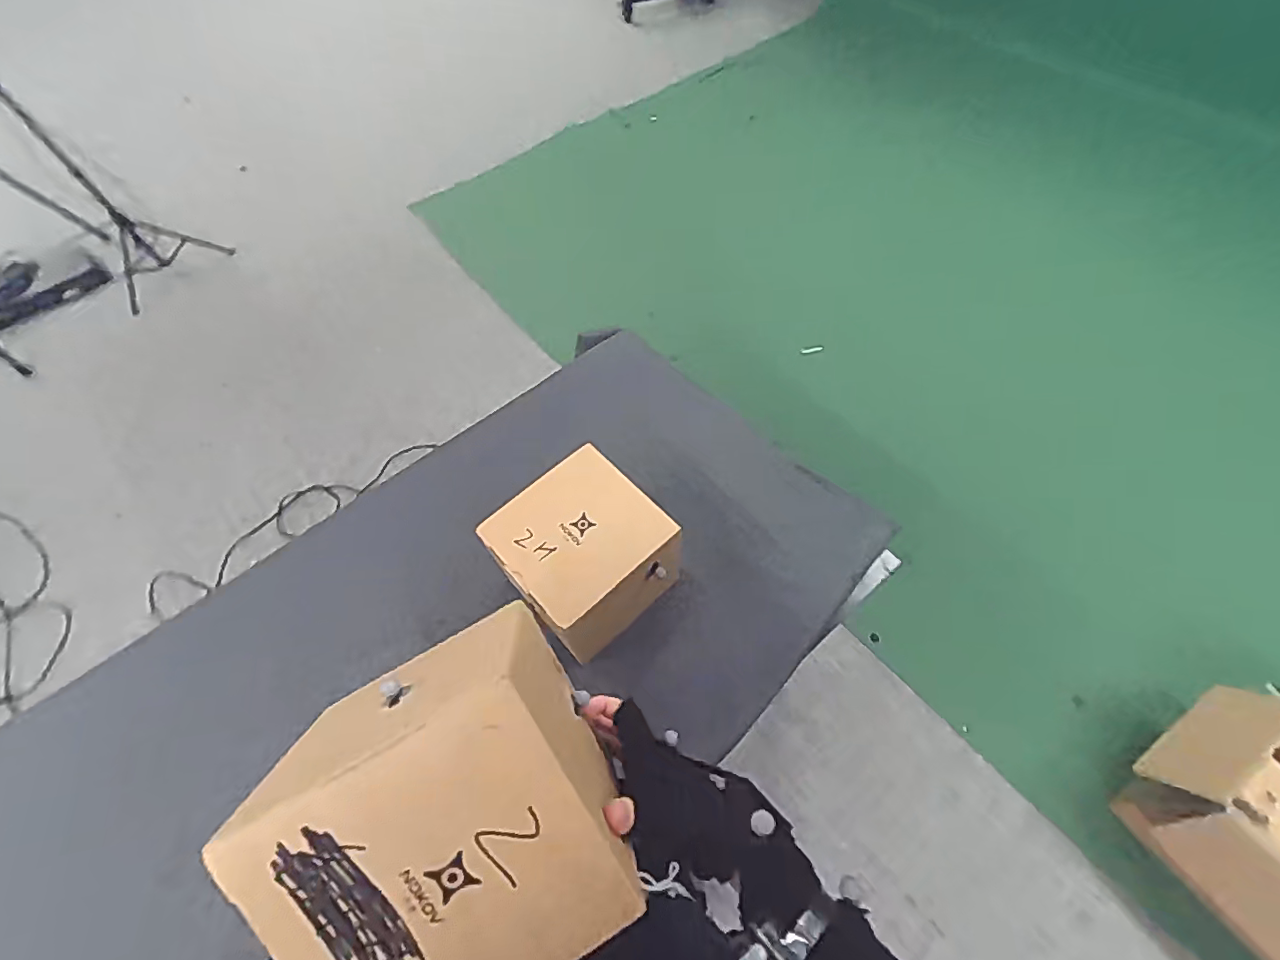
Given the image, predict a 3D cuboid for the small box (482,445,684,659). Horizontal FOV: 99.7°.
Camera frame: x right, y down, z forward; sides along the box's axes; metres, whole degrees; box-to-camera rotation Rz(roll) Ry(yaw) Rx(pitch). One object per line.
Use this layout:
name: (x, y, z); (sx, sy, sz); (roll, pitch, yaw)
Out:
small box: (-0.064, 0.095, 0.683); (0.179, 0.176, 0.168); (-40, 65, -18)
